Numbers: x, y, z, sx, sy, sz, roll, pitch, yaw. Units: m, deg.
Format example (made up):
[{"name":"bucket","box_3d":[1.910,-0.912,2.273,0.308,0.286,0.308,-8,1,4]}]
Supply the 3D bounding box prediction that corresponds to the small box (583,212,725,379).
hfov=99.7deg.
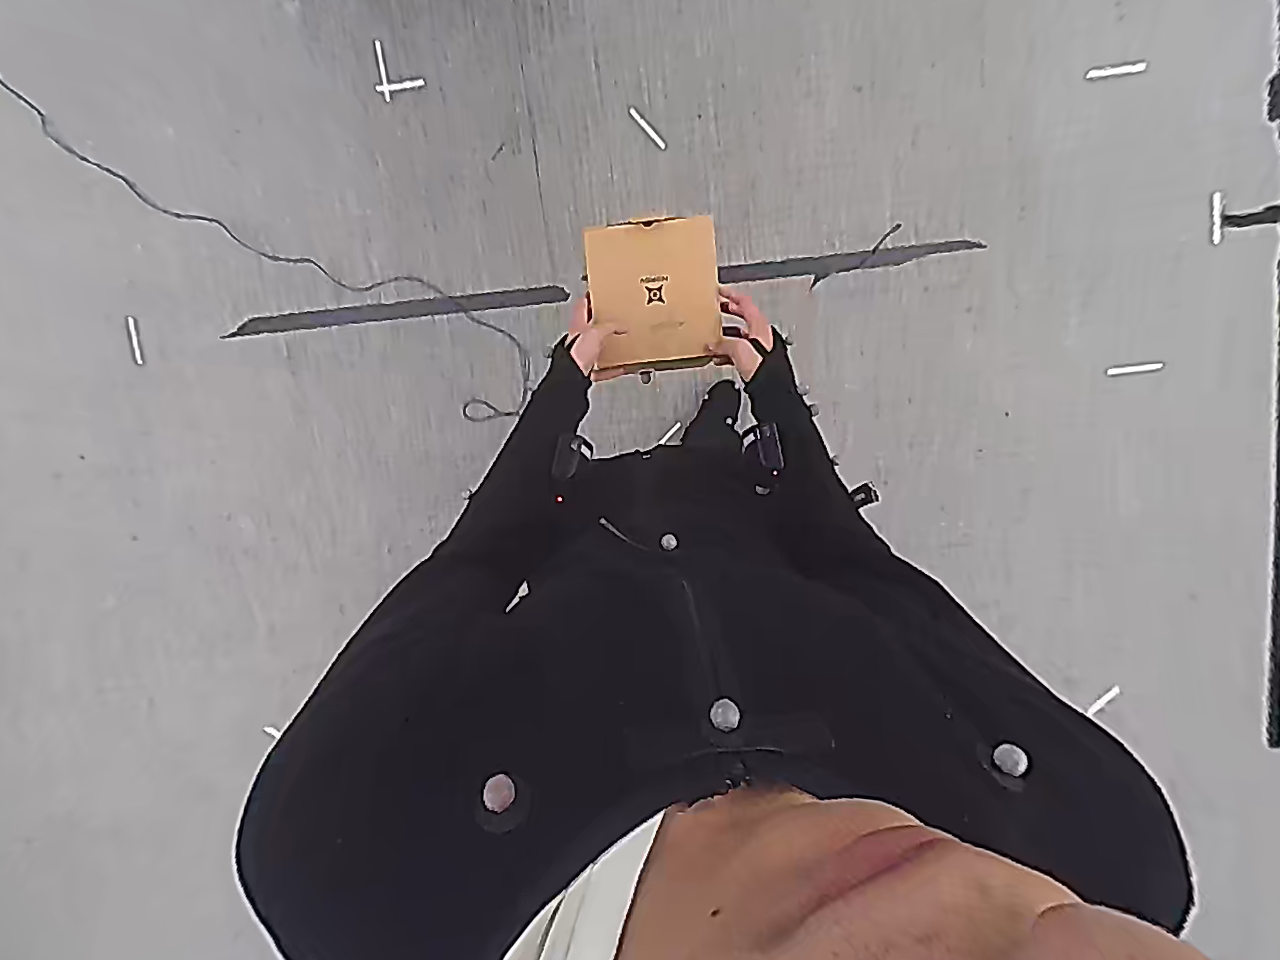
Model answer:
[{"name":"small box","box_3d":[0.016,-0.243,0.751,0.168,0.176,0.179,-6,95,0]}]
